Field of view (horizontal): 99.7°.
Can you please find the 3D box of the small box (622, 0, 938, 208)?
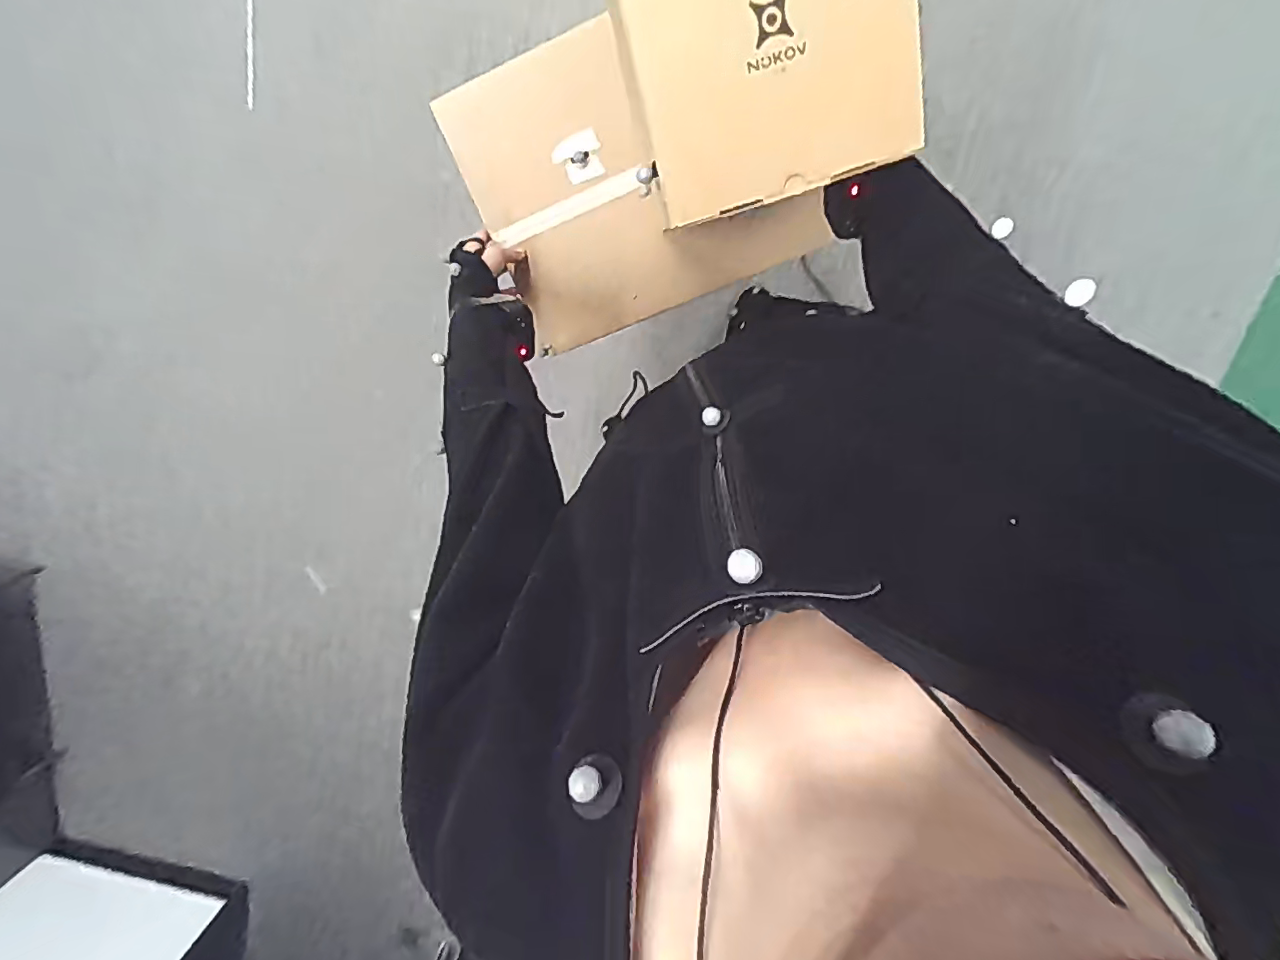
[{"bbox_3d":[0.084,-0.306,0.381,0.168,0.176,0.179,-14,116,7],"label":"small box"}]
